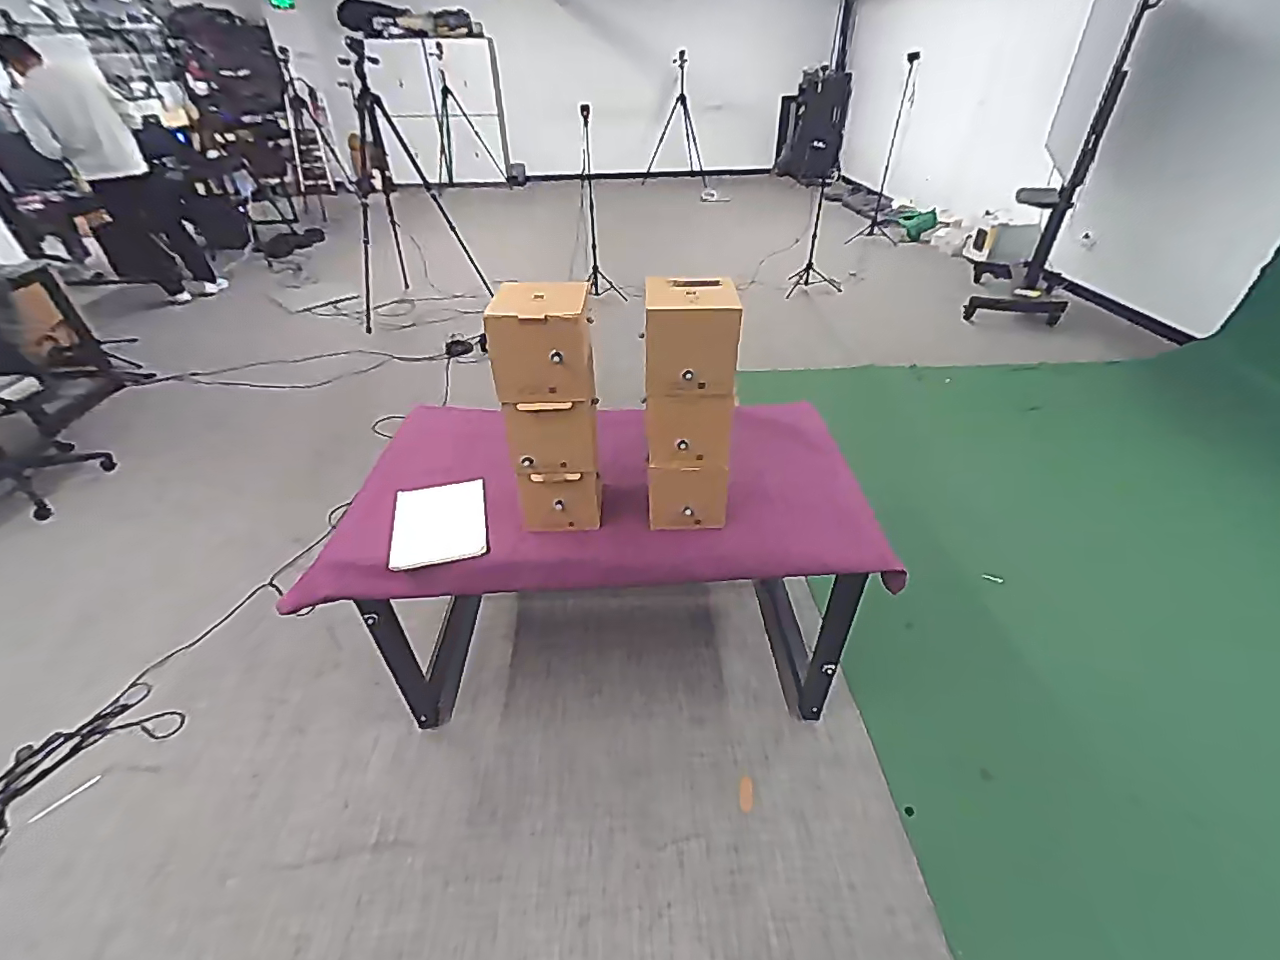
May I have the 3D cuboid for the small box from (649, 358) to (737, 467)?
[{"bbox_3d":[0.102,-0.142,1.129,0.168,0.176,0.179,-1,37,0],"label":"small box"}]

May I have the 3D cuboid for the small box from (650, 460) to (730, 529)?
[{"bbox_3d":[0.106,-0.008,1.221,0.168,0.176,0.179,-2,37,1],"label":"small box"}]

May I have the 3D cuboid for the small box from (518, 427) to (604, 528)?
[{"bbox_3d":[-0.169,-0.005,1.225,0.168,0.176,0.179,0,38,0],"label":"small box"}]

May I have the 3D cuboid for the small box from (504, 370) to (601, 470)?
[{"bbox_3d":[-0.171,-0.133,1.120,0.168,0.176,0.179,-1,37,0],"label":"small box"}]

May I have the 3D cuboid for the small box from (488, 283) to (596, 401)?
[{"bbox_3d":[-0.172,-0.259,1.017,0.168,0.176,0.179,0,37,0],"label":"small box"}]
